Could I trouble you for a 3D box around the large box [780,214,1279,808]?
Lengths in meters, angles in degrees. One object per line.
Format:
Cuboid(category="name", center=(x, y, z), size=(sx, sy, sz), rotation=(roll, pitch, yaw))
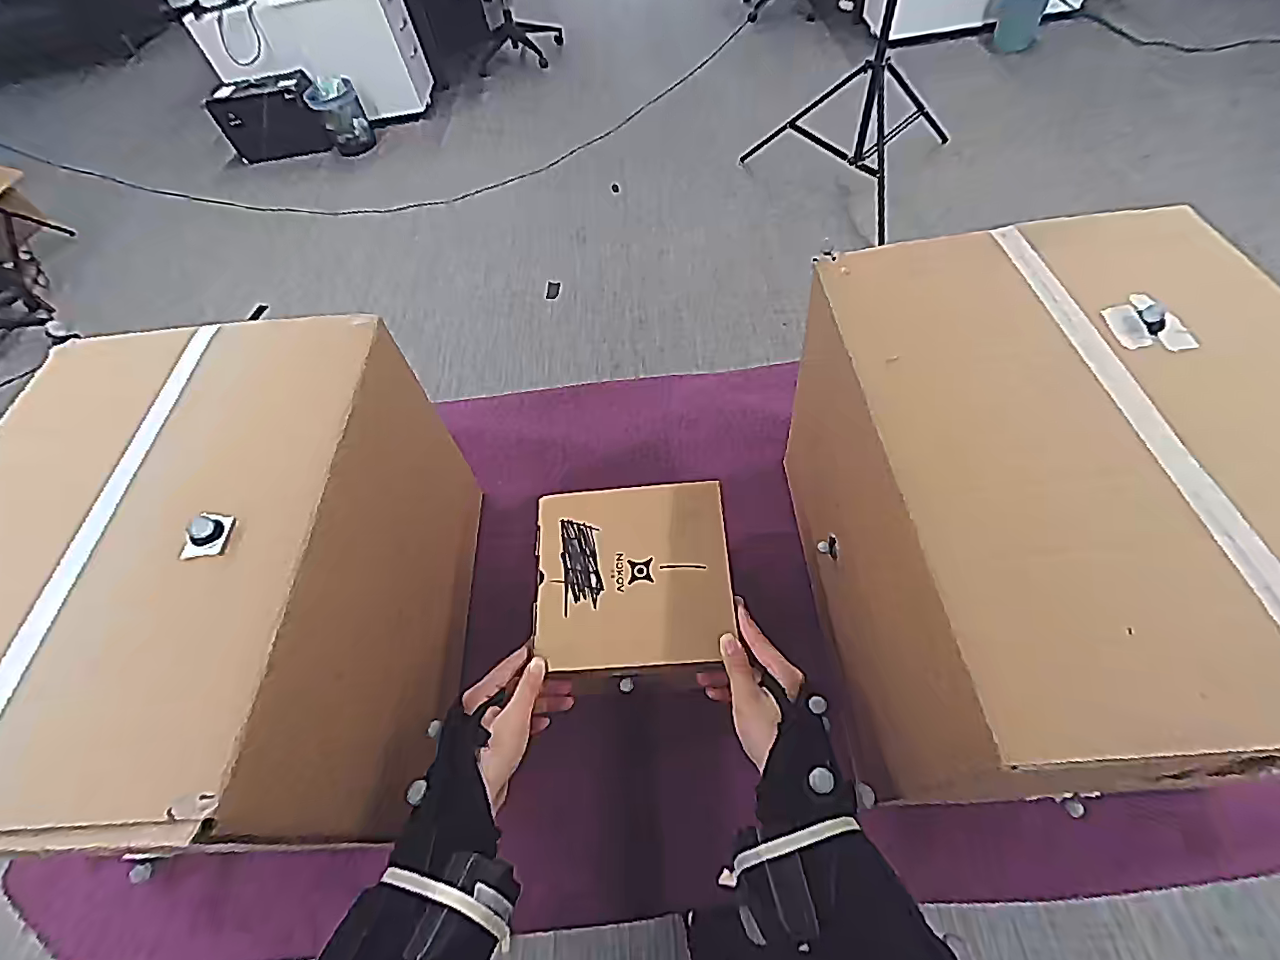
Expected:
Cuboid(category="large box", center=(0.329, 0.036, 0.480), size=(0.320, 0.320, 0.408), rotation=(-6, 55, 3))
